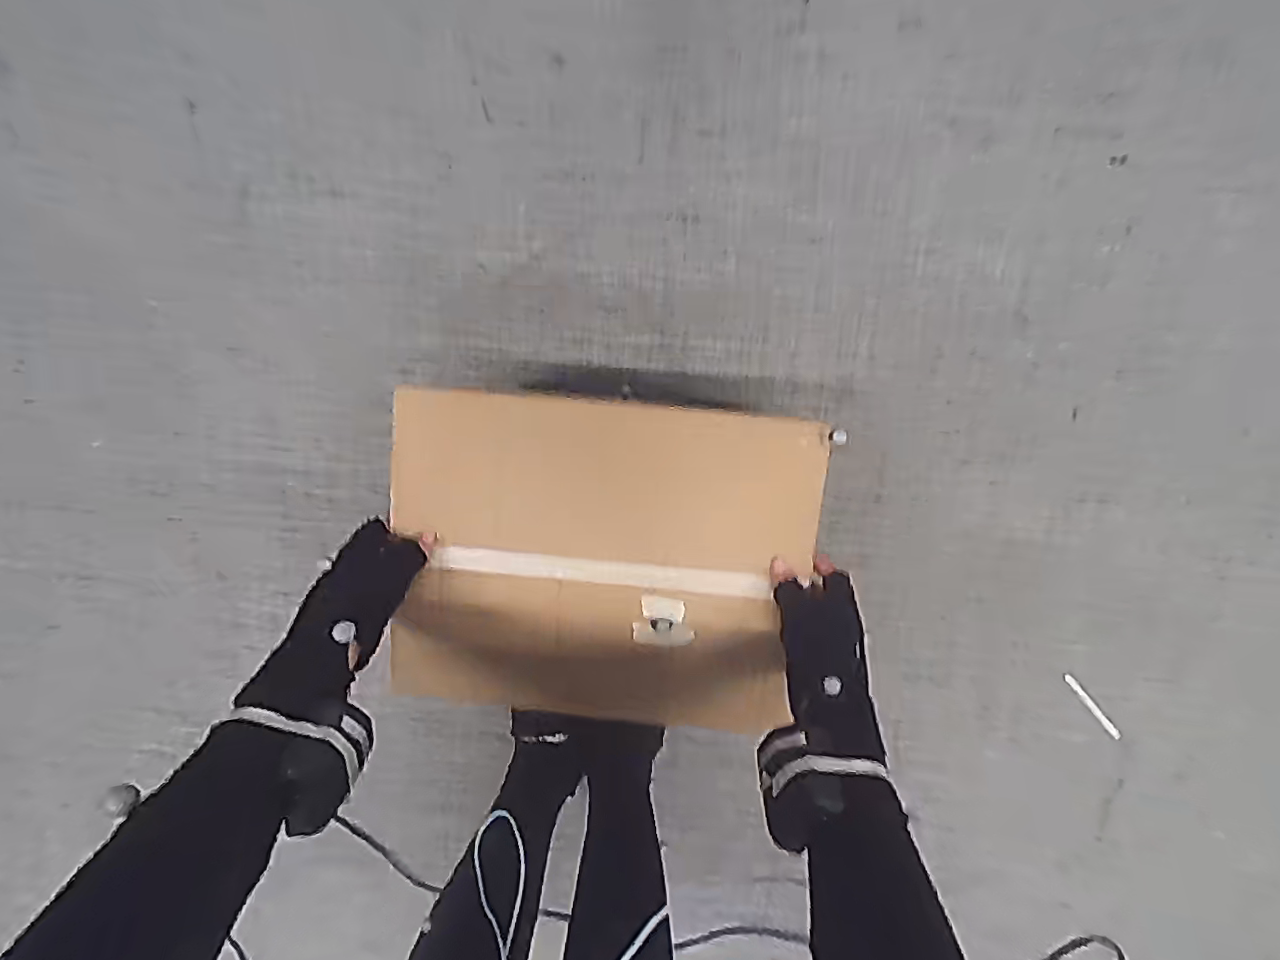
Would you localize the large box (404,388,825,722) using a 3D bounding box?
[{"bbox_3d":[-0.030,0.059,0.677,0.408,0.320,0.320,5,99,2],"label":"large box"}]
